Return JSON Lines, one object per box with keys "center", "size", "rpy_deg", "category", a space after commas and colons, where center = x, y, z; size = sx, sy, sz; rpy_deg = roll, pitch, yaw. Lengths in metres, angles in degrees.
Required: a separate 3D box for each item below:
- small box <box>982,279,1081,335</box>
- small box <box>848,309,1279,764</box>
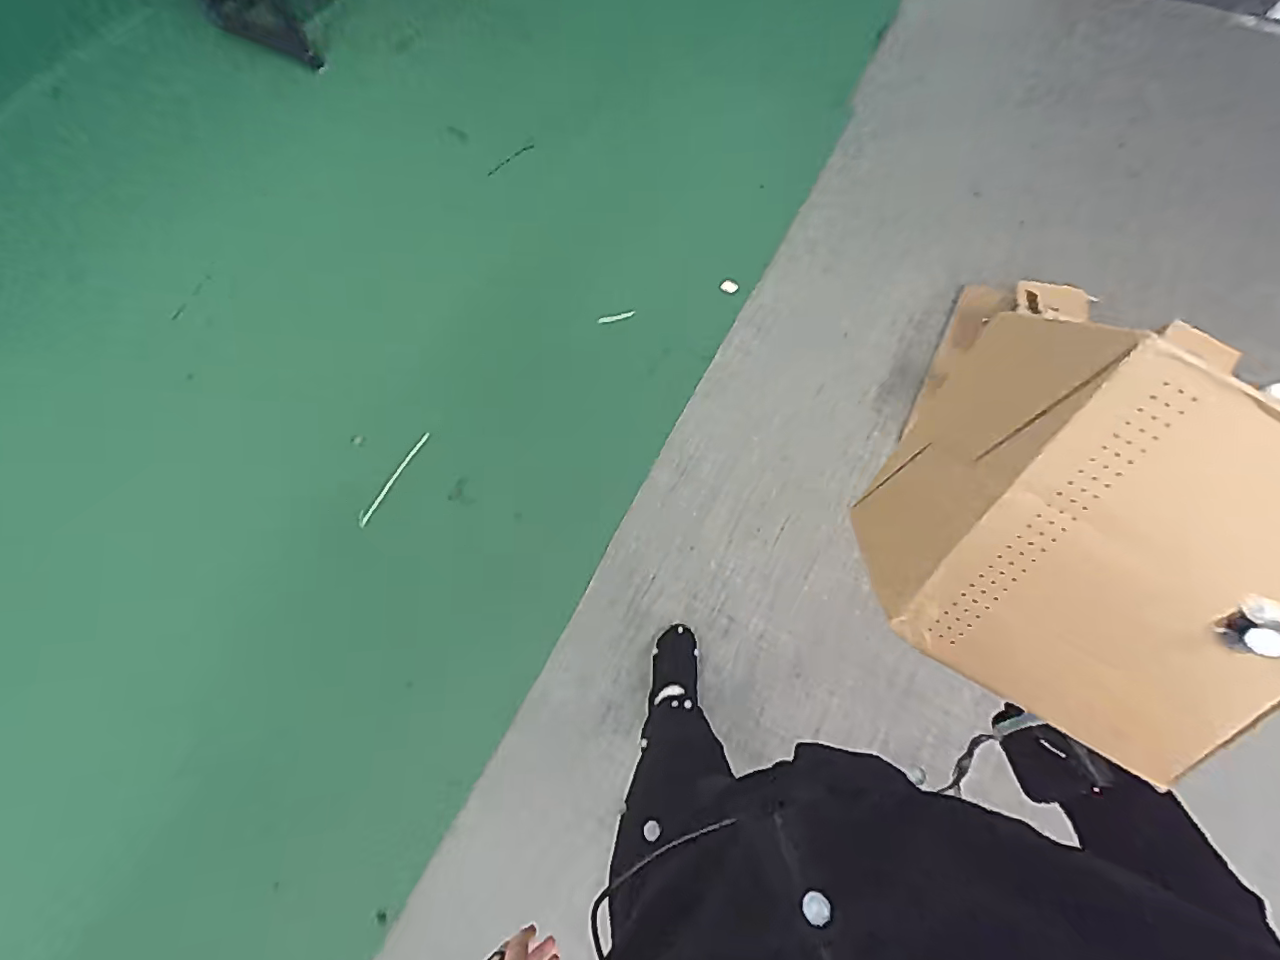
{"center": [1.069, -0.423, 1.492], "size": [0.179, 0.176, 0.168], "rpy_deg": [12, 72, 7], "category": "small box"}
{"center": [0.254, 0.013, 0.319], "size": [0.176, 0.168, 0.179], "rpy_deg": [32, 114, 3], "category": "small box"}
